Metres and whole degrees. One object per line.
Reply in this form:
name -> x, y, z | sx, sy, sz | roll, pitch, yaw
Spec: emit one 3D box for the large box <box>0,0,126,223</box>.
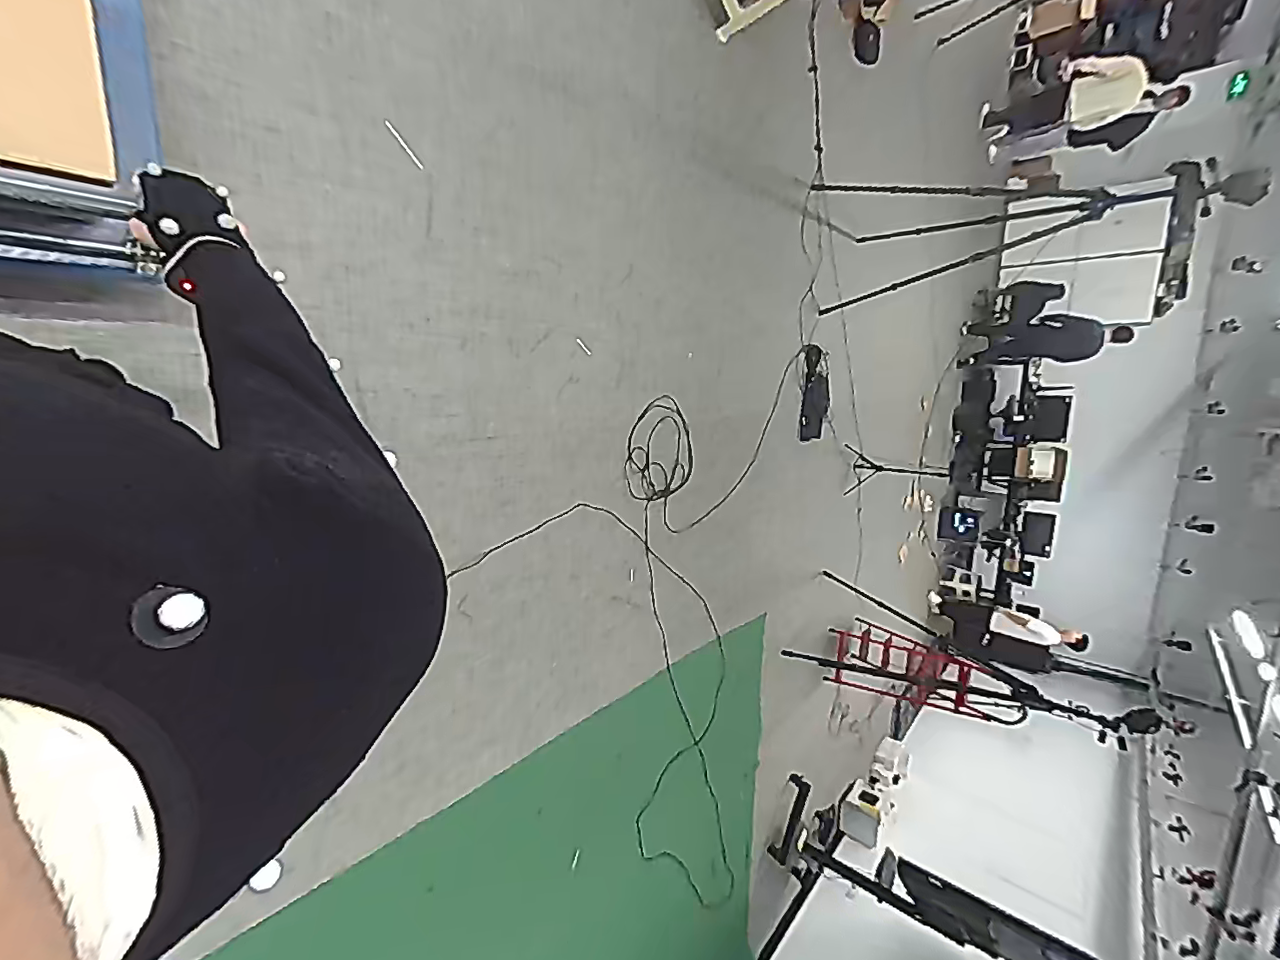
large box -> -0.998, -0.636, 0.774 | 0.320, 0.320, 0.408 | -12, 105, -48
